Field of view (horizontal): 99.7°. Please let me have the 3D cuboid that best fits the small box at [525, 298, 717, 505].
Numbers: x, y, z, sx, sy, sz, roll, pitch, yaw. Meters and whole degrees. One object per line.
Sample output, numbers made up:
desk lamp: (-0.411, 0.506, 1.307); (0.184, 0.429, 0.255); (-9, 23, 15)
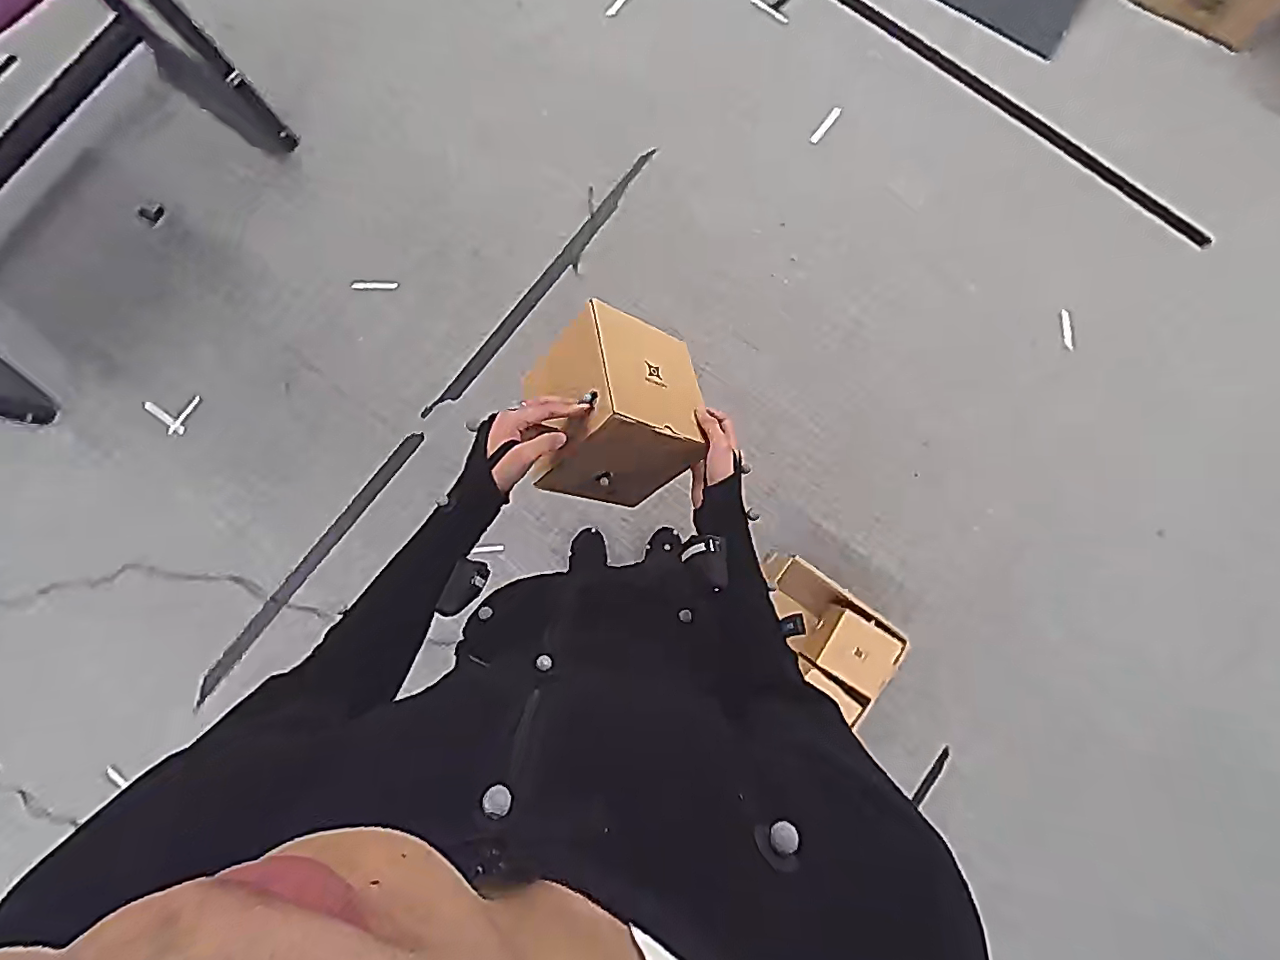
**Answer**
small box: (-0.034, -0.090, 0.698); (0.176, 0.168, 0.179); (-36, 55, 38)
